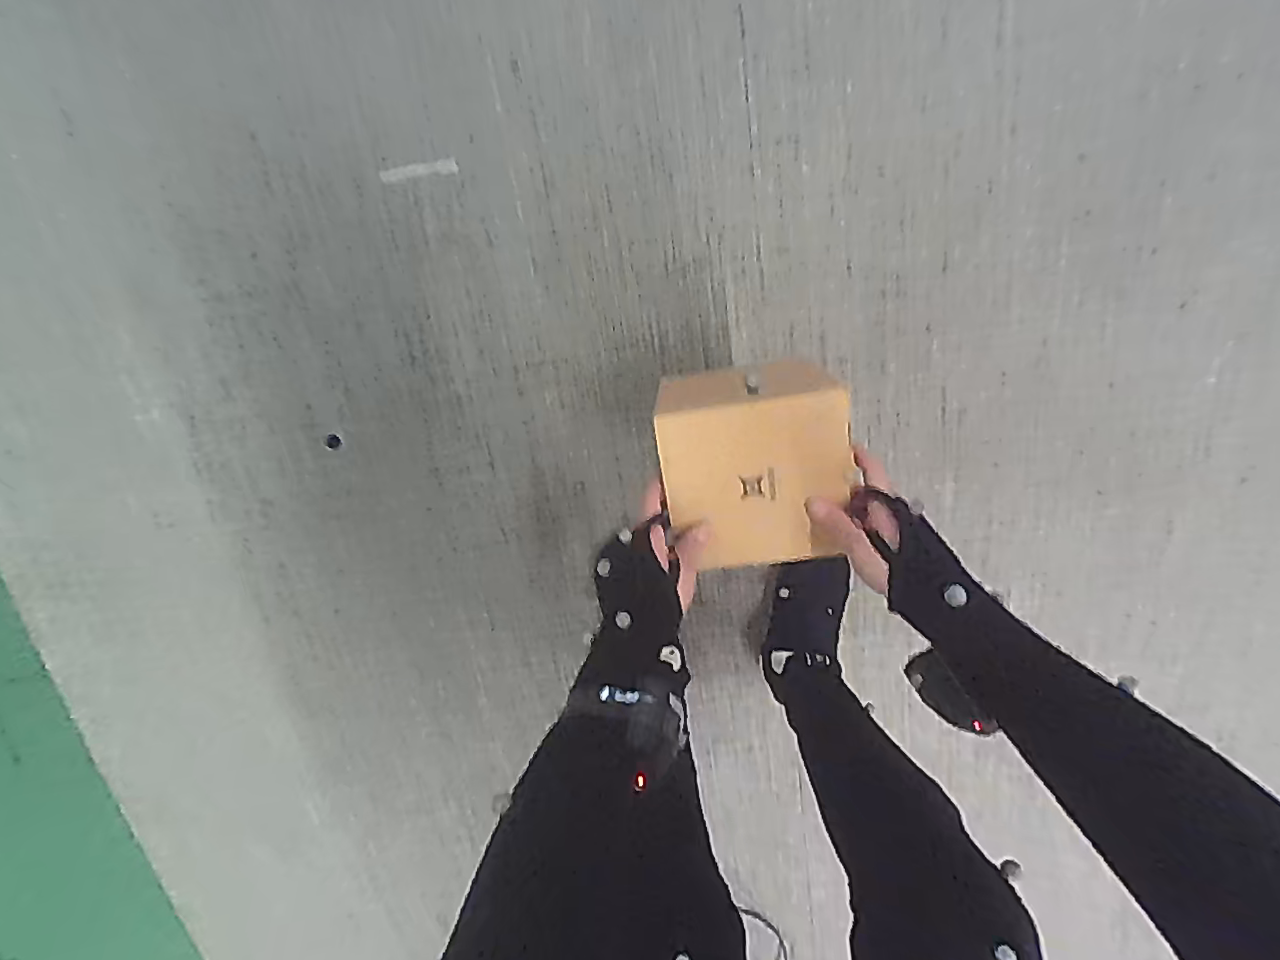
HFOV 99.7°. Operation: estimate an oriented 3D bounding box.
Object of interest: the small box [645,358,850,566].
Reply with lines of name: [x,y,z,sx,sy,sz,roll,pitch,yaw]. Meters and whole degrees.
small box: [0.109,-0.027,0.578,0.179,0.176,0.168,-8,110,7]
